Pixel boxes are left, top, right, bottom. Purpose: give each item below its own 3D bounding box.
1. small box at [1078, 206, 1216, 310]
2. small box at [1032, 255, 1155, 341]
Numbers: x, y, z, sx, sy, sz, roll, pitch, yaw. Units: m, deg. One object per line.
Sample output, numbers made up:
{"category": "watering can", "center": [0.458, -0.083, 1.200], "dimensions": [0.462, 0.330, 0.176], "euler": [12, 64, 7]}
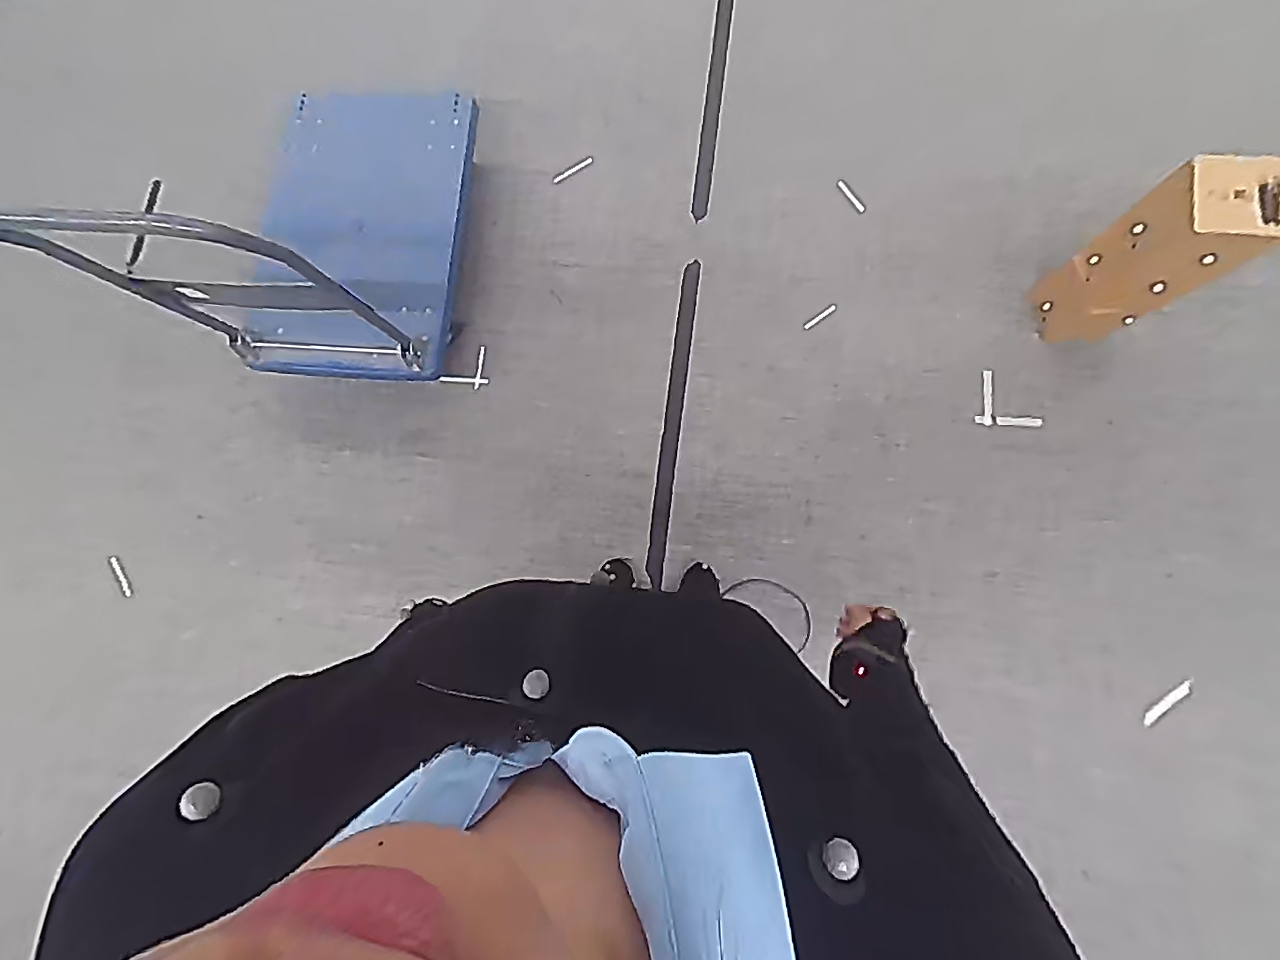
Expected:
{"category": "small box", "center": [1.191, -0.517, 1.279], "dimensions": [0.179, 0.176, 0.168], "euler": [6, 82, 6]}
{"category": "small box", "center": [1.197, -0.486, 1.439], "dimensions": [0.179, 0.176, 0.168], "euler": [-6, 80, 4]}
